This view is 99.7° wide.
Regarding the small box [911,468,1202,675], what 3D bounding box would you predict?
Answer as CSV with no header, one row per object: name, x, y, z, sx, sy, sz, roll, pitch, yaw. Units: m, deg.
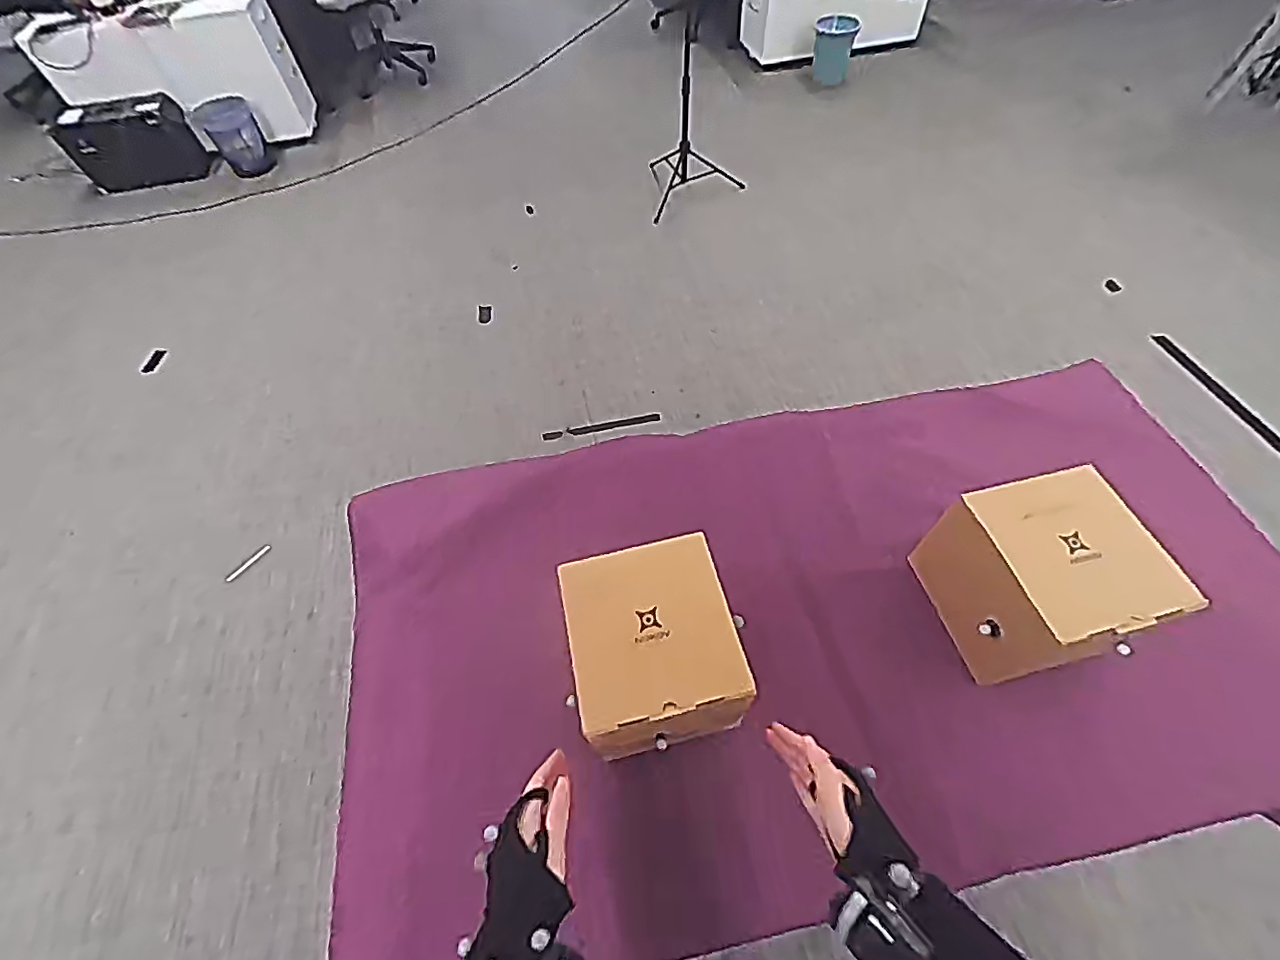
small box,0.456,0.115,0.631,0.168,0.176,0.179,-12,57,-5

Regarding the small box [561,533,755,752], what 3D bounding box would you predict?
small box,0.013,0.188,0.610,0.168,0.176,0.179,-12,58,-5
